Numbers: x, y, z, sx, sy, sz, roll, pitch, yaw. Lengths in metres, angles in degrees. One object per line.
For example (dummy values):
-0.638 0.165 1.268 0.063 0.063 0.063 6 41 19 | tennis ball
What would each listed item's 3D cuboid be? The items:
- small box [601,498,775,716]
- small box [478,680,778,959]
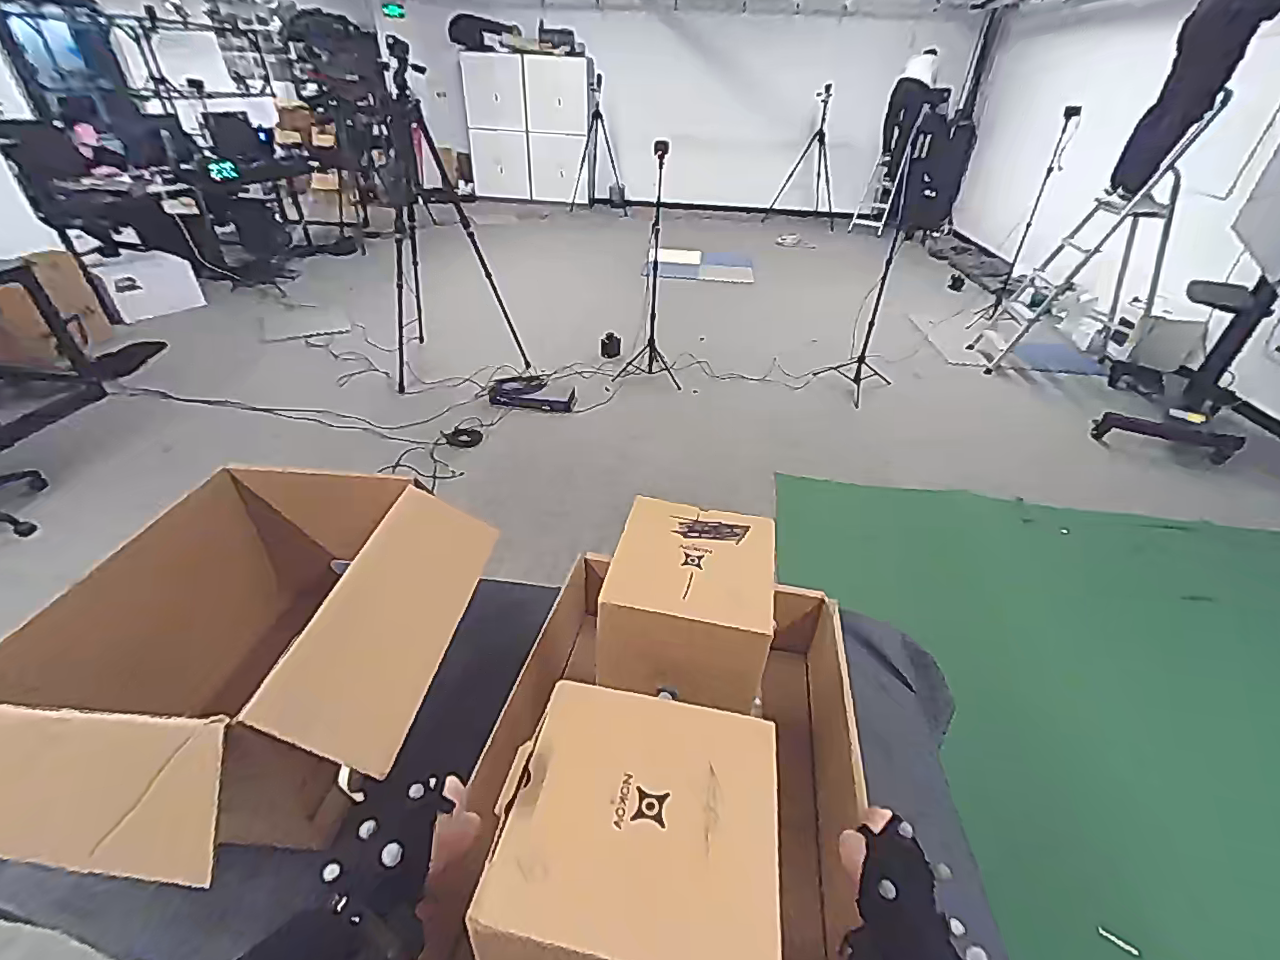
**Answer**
0.053 0.149 0.618 0.168 0.176 0.179 10 36 8 | small box
-0.001 0.287 0.409 0.179 0.176 0.168 10 33 6 | small box
